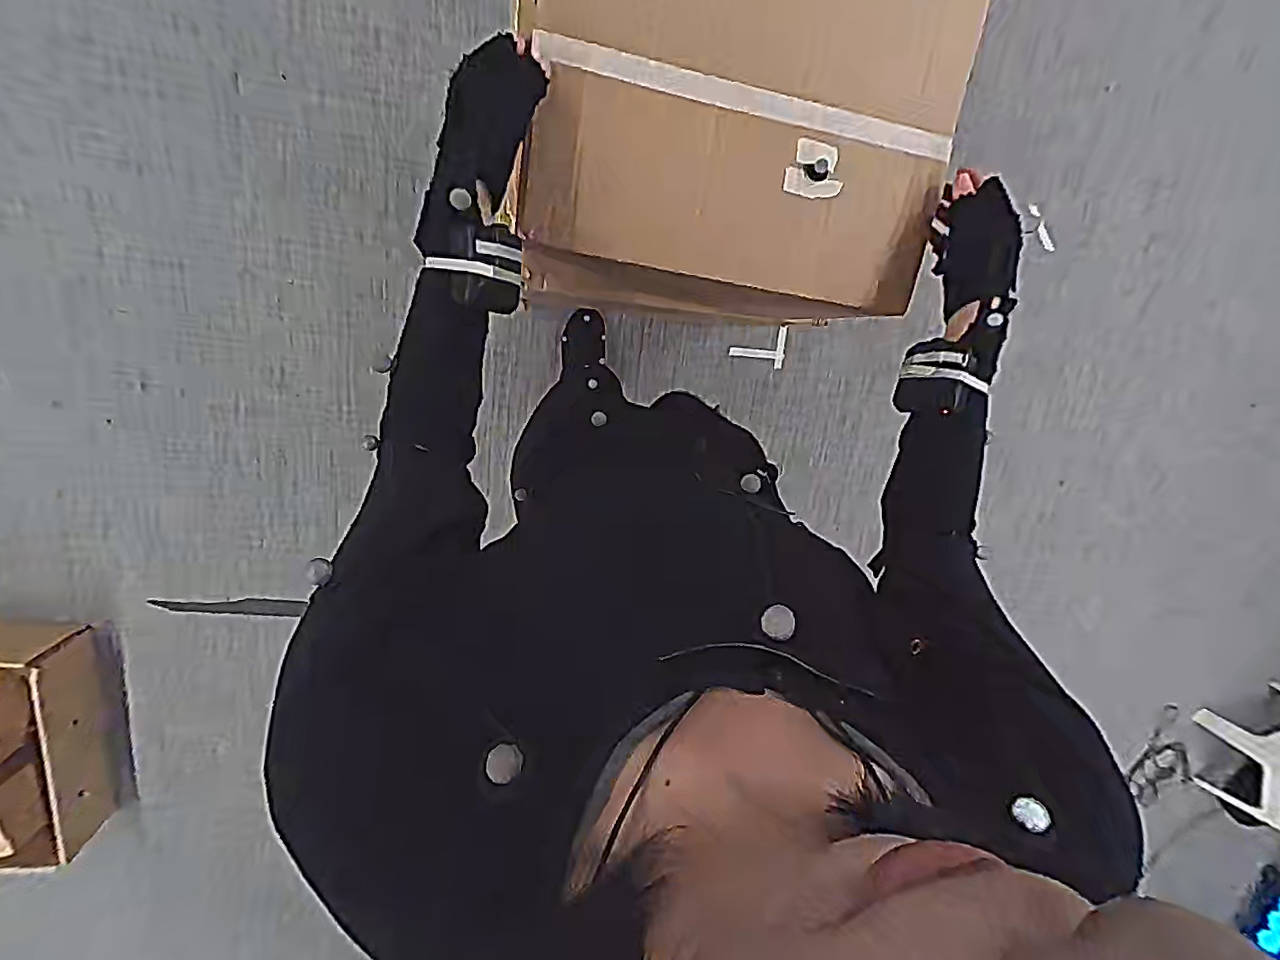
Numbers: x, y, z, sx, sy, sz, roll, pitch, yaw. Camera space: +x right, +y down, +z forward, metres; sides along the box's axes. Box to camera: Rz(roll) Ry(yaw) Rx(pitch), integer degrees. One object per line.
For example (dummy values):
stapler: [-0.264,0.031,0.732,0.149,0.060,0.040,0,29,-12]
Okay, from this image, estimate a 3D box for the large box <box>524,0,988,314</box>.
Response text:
large box: [0.083,-0.383,0.627,0.408,0.320,0.320,6,105,-12]
